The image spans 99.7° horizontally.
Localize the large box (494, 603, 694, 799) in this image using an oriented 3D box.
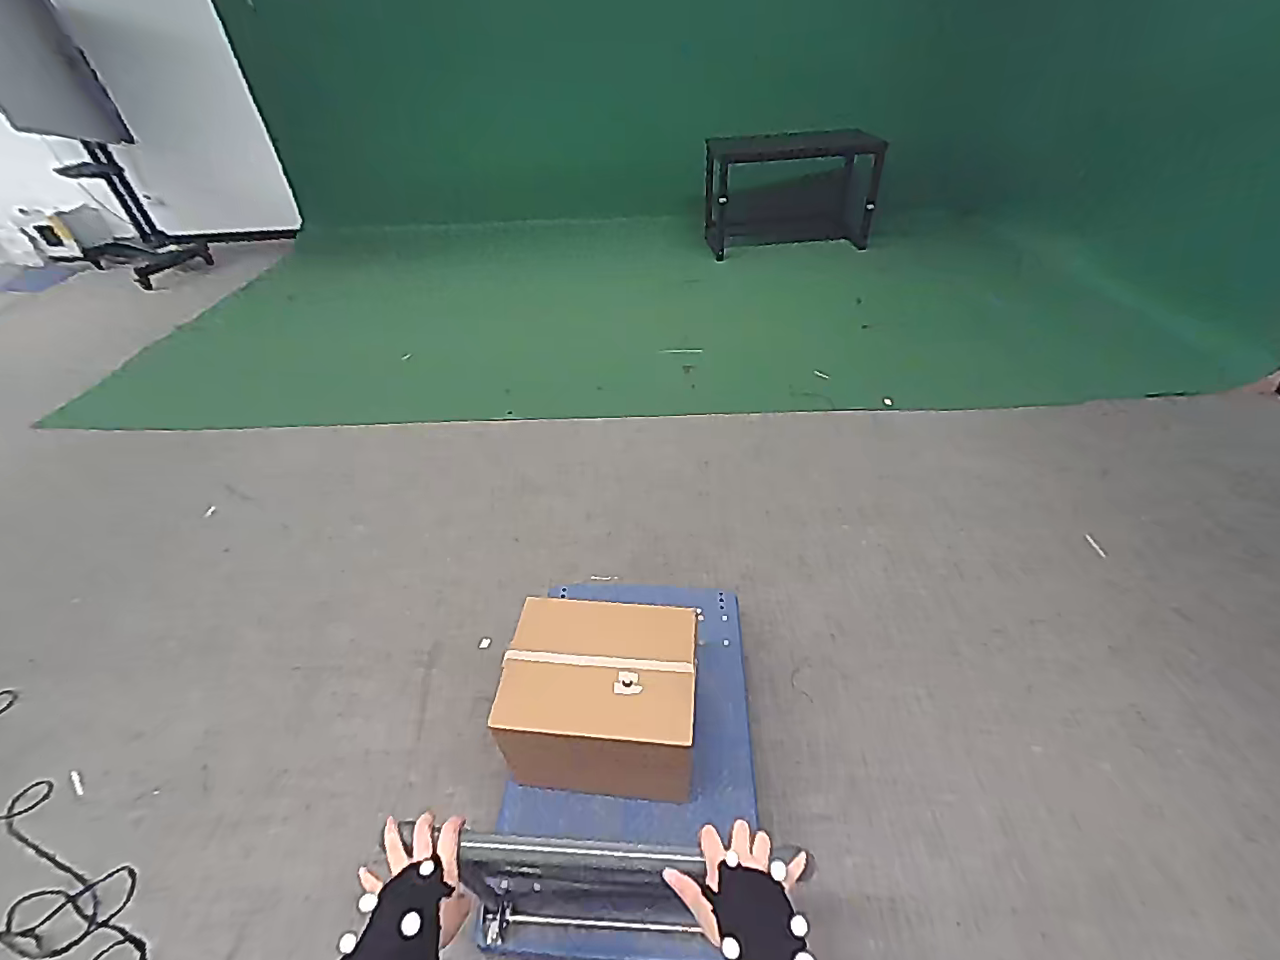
[{"bbox_3d":[-0.084,0.515,1.268,0.408,0.320,0.320,3,41,5],"label":"large box"}]
